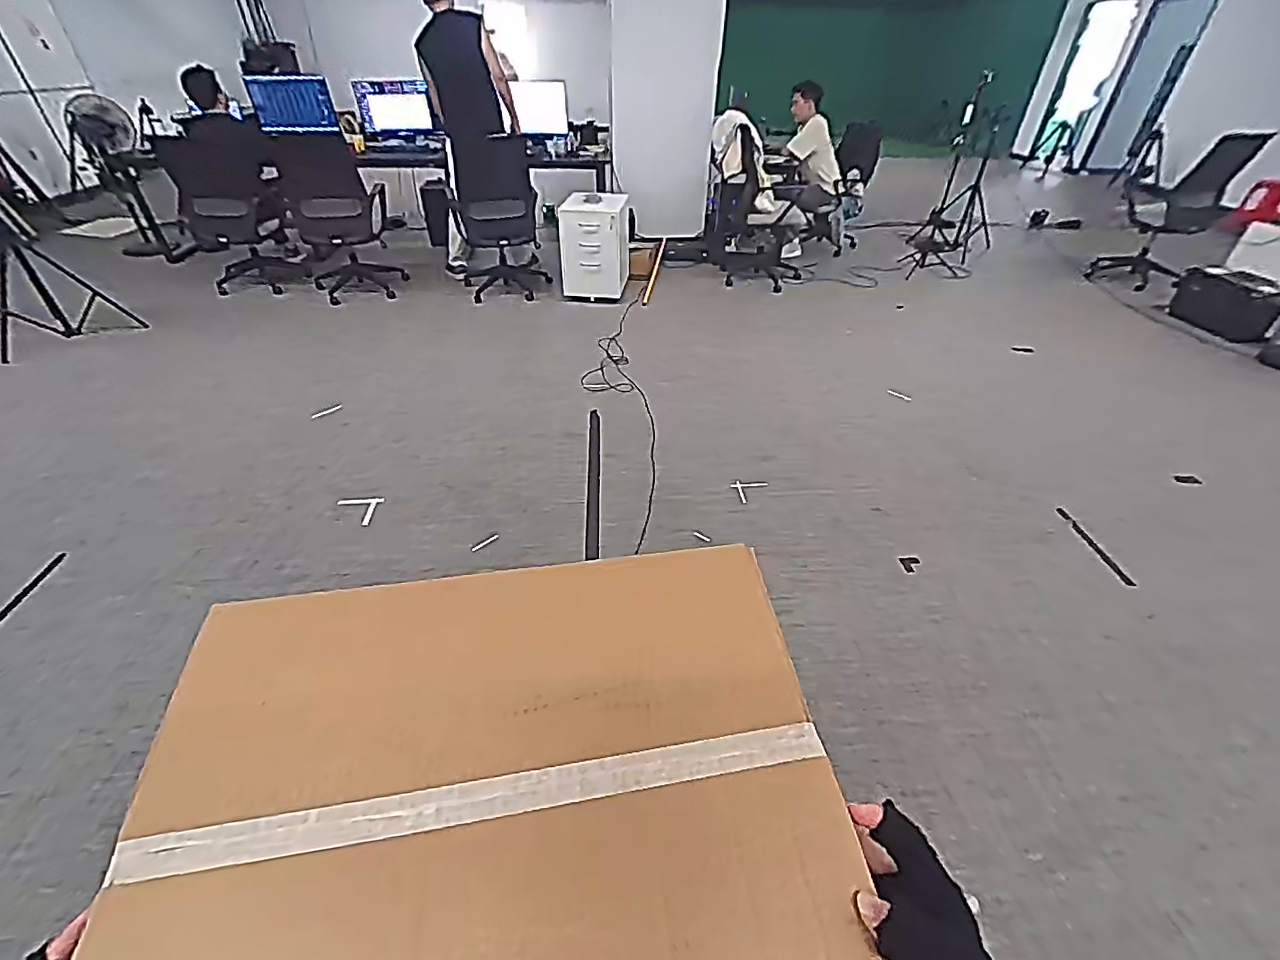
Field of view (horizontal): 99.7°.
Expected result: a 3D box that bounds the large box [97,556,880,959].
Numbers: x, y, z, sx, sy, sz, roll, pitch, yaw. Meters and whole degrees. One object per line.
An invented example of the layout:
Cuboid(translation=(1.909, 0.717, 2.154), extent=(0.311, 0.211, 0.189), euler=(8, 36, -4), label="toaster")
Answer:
Cuboid(translation=(-0.089, 0.296, 0.438), extent=(0.408, 0.320, 0.320), euler=(-6, 49, -8), label="large box")
